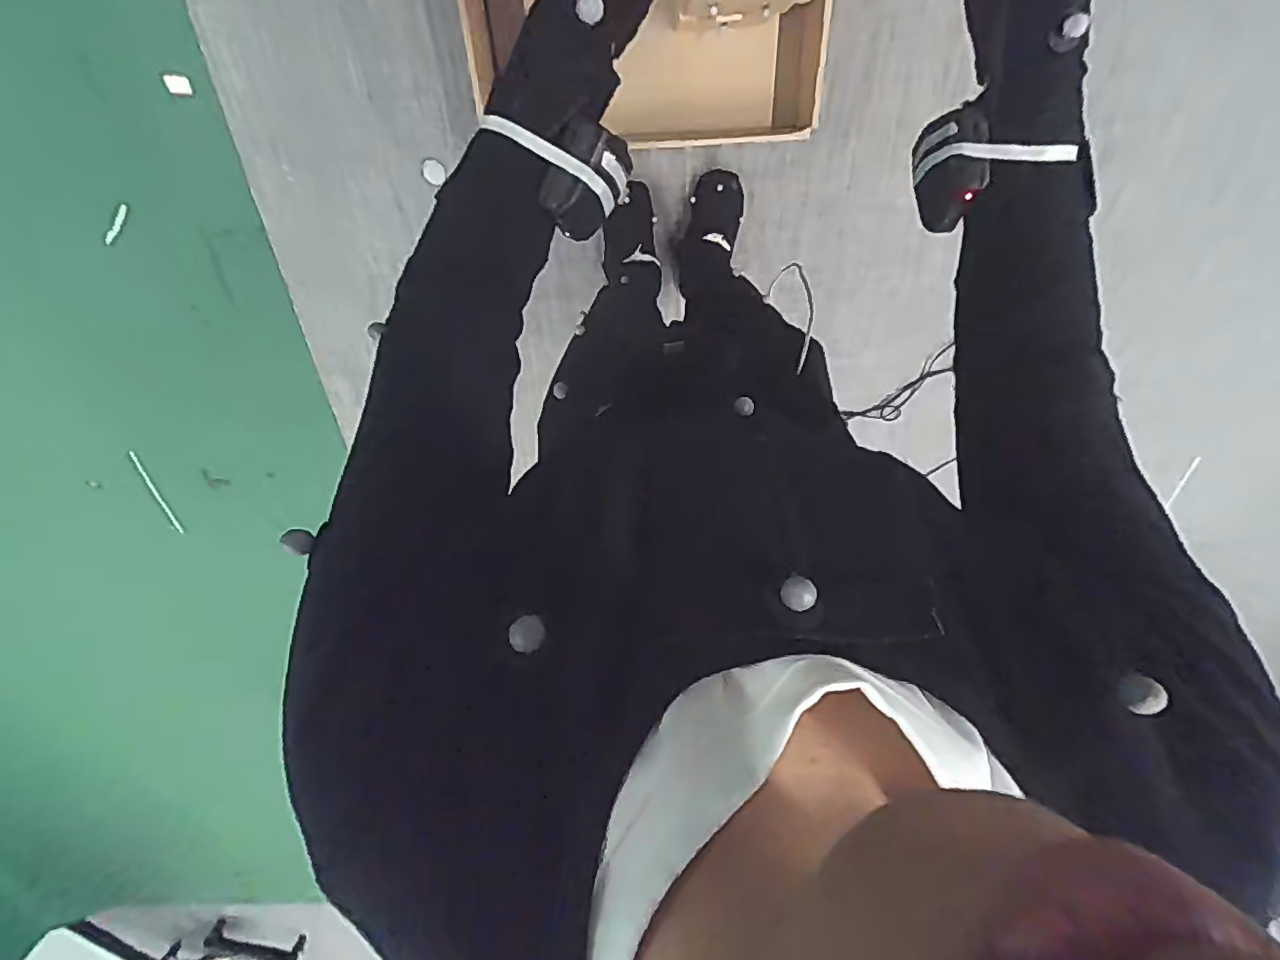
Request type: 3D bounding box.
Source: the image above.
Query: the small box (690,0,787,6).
[{"bbox_3d":[0.148,-0.770,0.738,0.168,0.176,0.179,-1,125,2],"label":"small box"}]

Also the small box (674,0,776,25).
[{"bbox_3d":[0.136,-0.873,0.888,0.168,0.176,0.179,-4,124,6],"label":"small box"}]
